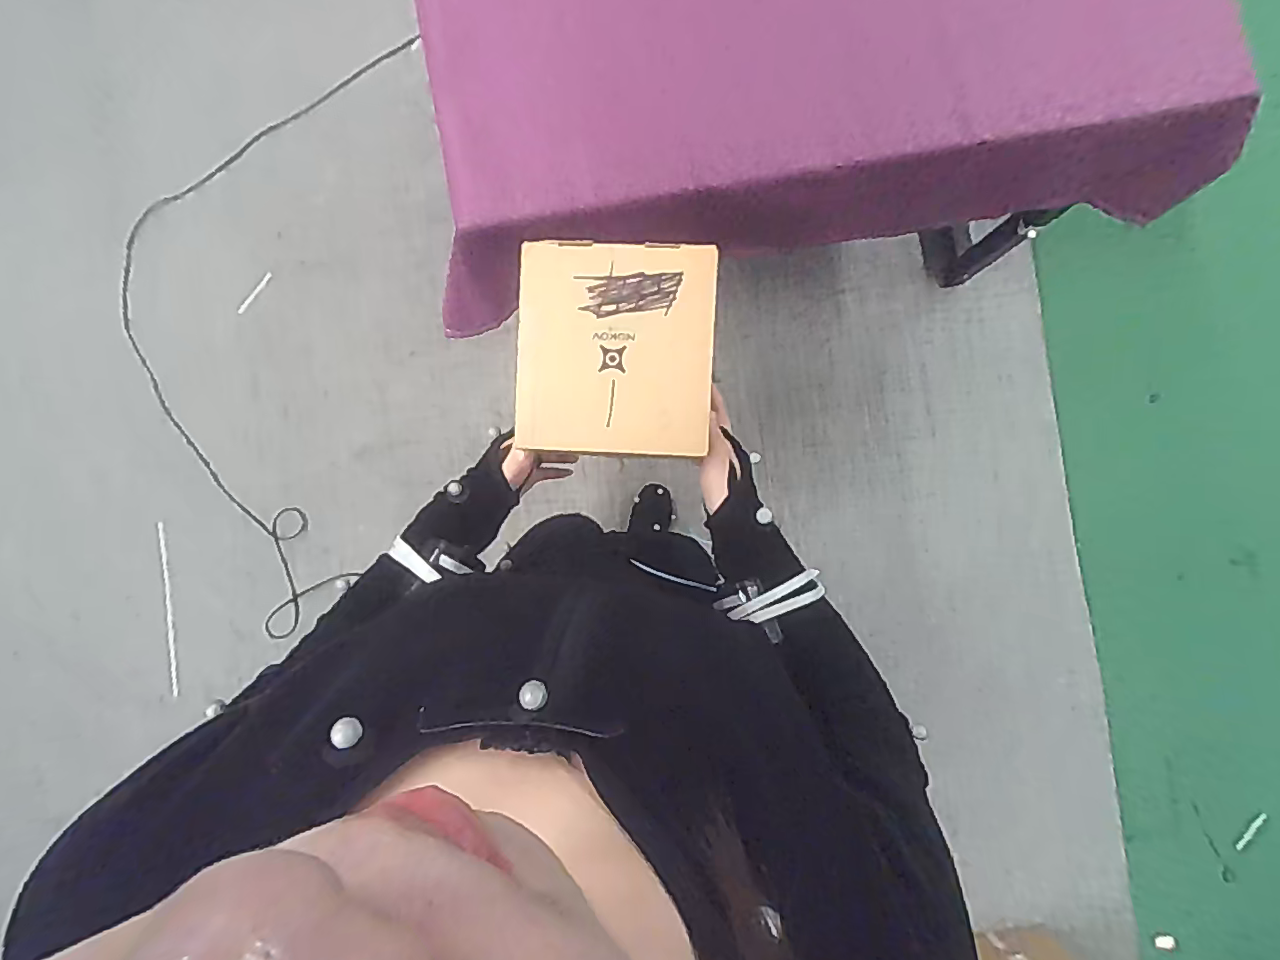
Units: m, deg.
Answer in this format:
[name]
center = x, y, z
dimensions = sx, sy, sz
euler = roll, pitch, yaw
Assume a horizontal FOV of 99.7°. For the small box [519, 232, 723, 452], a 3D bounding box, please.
[small box]
center = -0.013, -0.121, 0.534
dimensions = 0.168, 0.176, 0.179
euler = 3, 93, 4
